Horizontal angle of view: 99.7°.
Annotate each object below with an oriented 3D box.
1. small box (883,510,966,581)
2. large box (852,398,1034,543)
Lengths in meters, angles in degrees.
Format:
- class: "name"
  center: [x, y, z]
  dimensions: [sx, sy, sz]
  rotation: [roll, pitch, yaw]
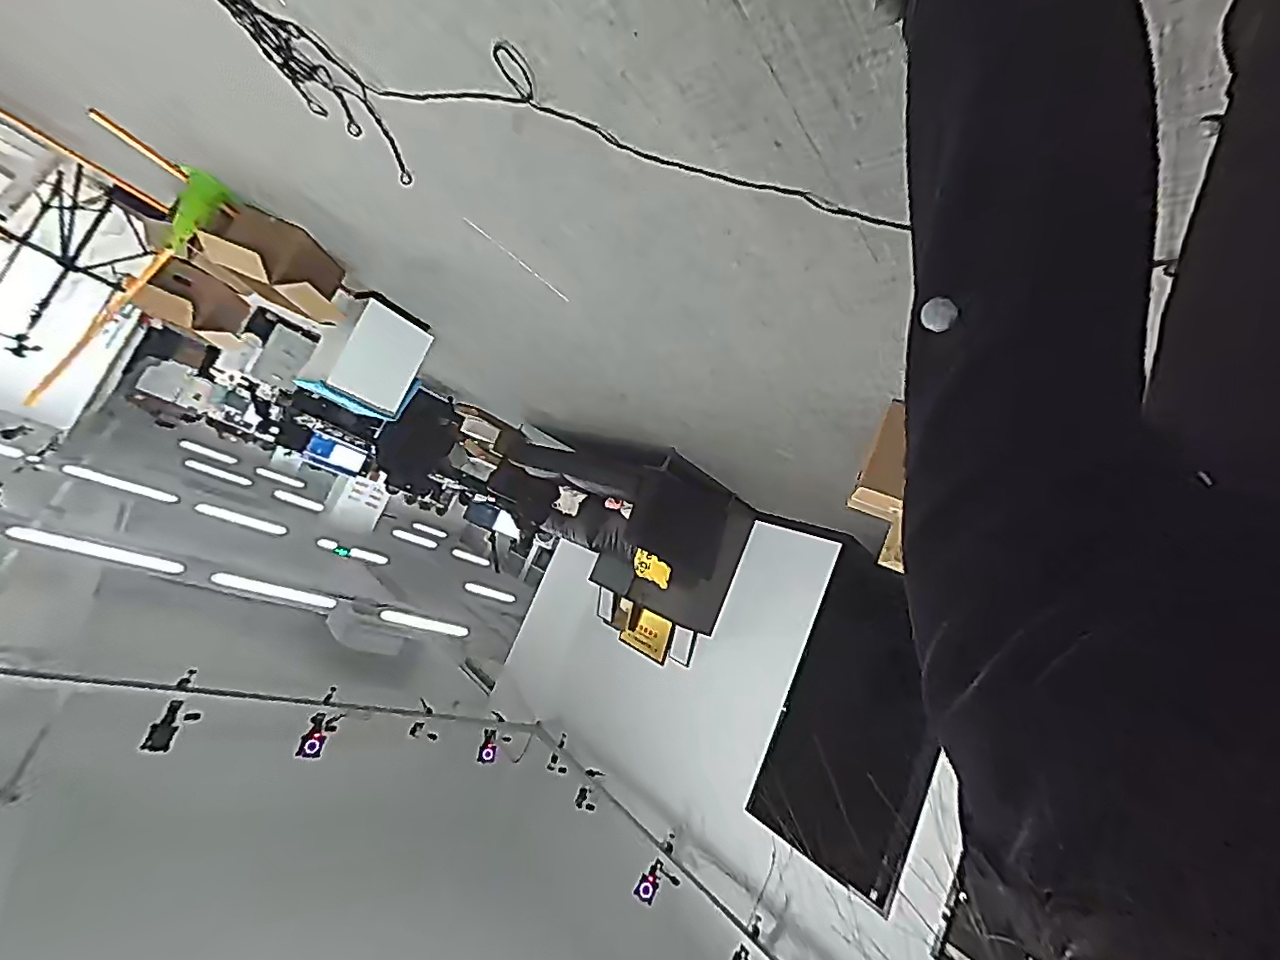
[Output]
- class: "small box"
  center: [0.912, 0.211, 1.736]
  dimensions: [0.168, 0.176, 0.179]
  rotation: [22, 173, 14]
- class: "large box"
  center: [0.967, -0.027, 1.772]
  dimensions: [0.408, 0.320, 0.320]
  rotation: [22, 172, 18]
